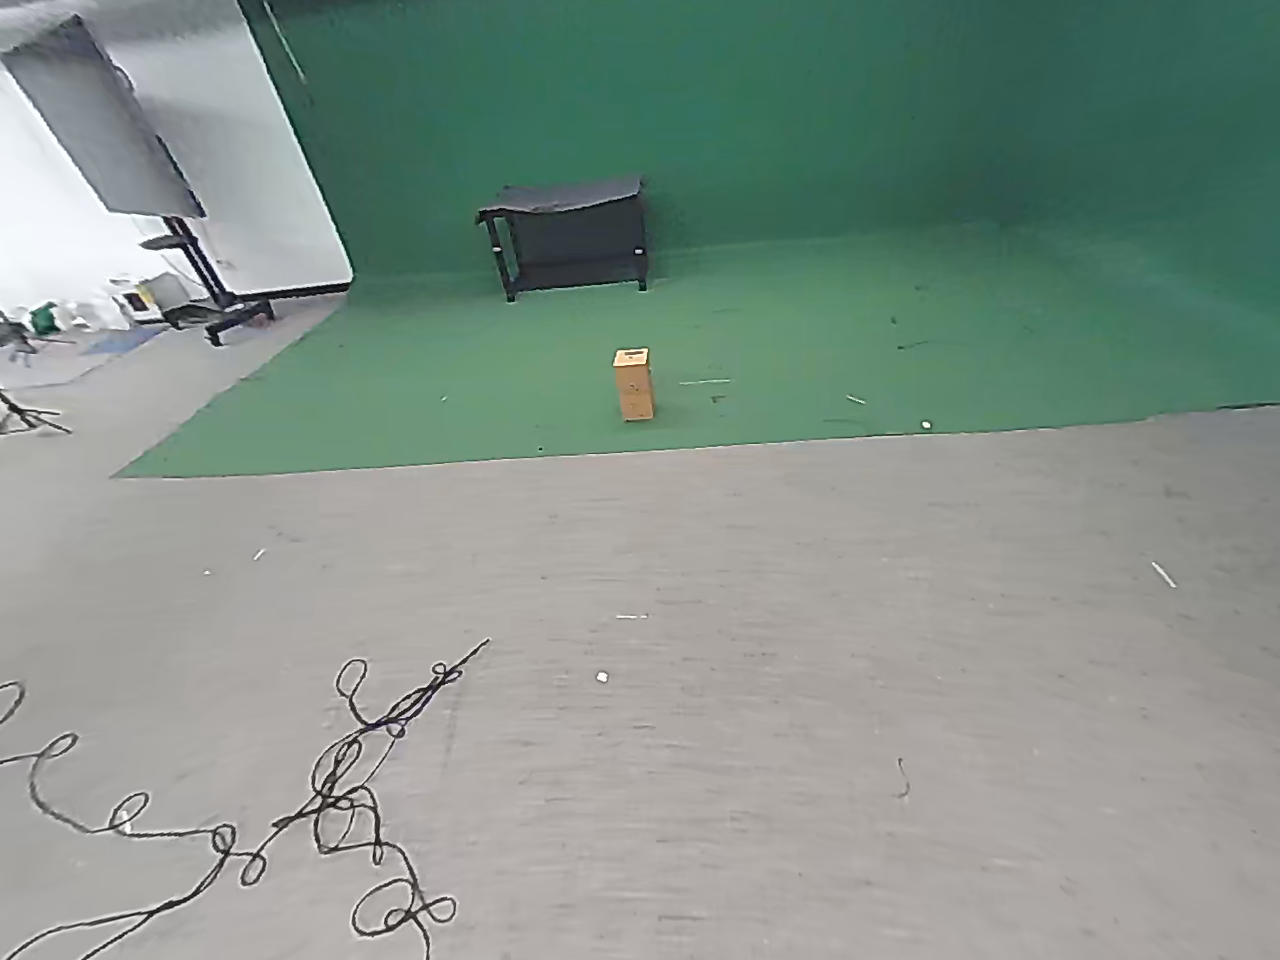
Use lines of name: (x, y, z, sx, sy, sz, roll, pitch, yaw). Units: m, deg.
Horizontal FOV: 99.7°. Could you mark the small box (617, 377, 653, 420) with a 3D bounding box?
small box: (-0.021, -0.434, 2.903, 0.168, 0.176, 0.179, -3, 38, 8)
